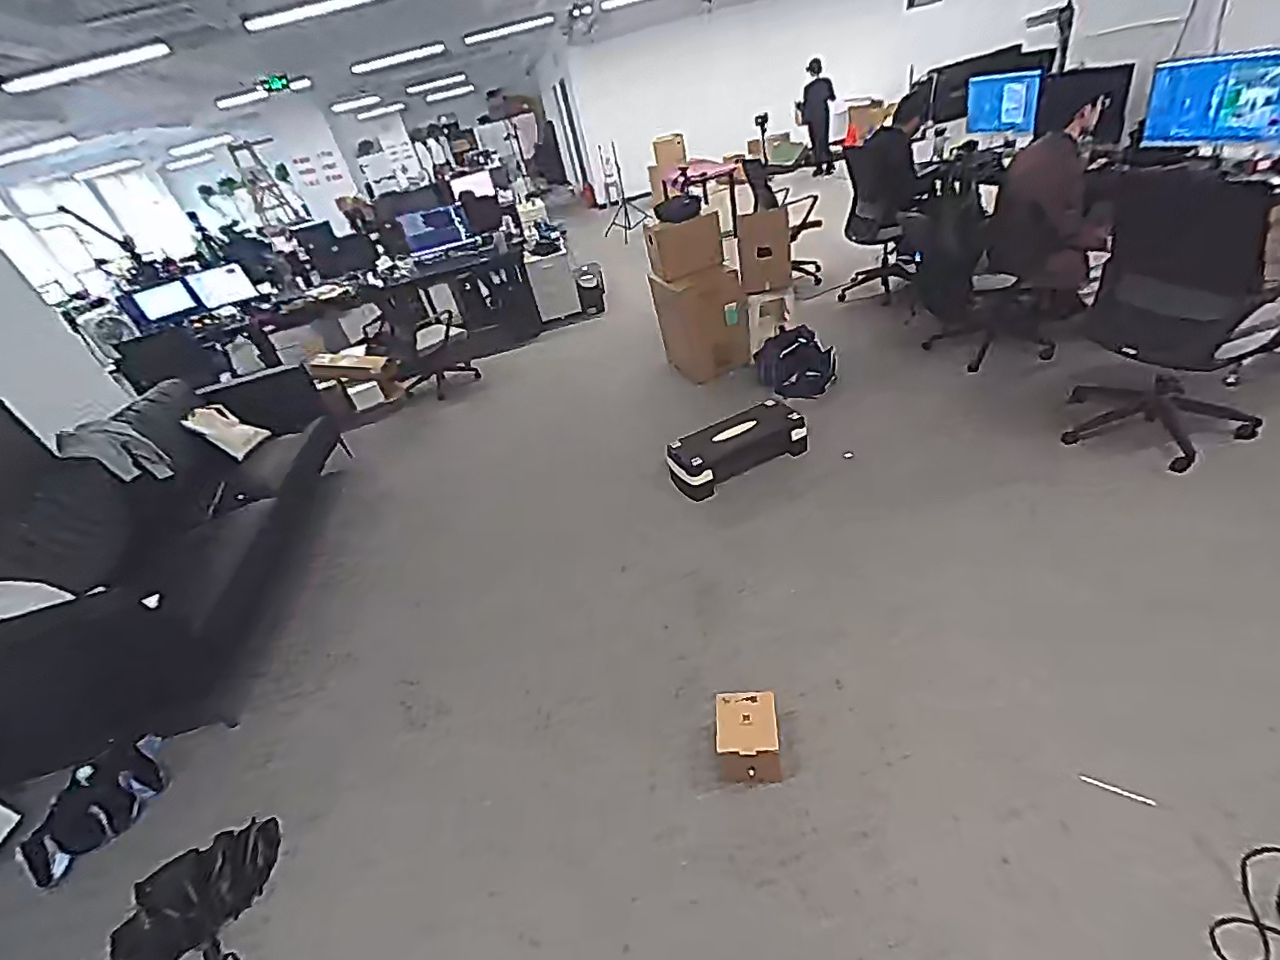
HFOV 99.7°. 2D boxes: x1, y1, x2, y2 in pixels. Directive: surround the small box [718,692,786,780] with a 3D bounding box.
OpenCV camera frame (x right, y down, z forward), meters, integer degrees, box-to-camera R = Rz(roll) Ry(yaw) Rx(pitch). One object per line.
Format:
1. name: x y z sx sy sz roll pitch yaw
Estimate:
1. small box: 0.316 0.726 1.525 0.168 0.176 0.179 -7 36 13
